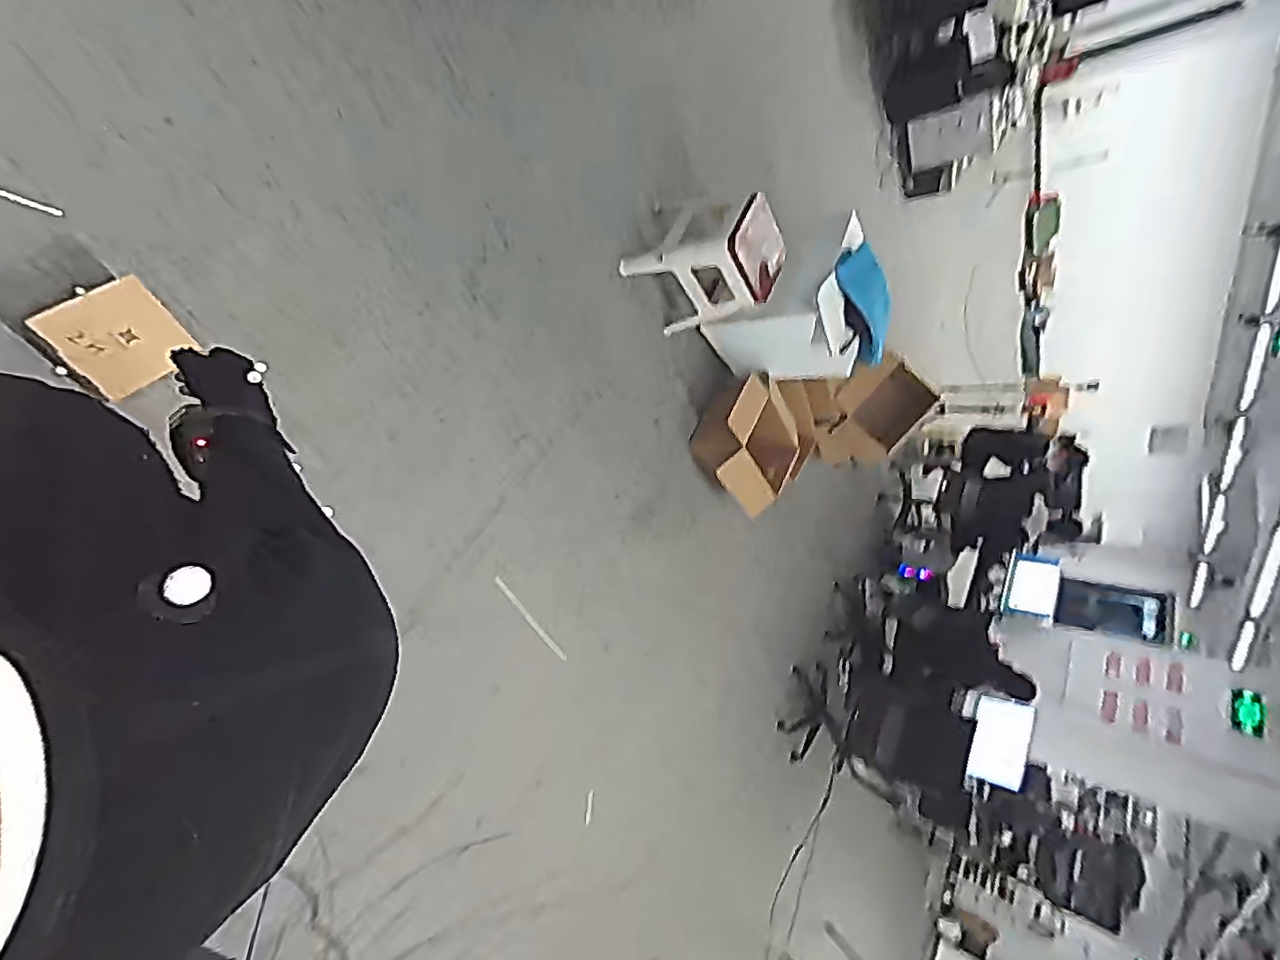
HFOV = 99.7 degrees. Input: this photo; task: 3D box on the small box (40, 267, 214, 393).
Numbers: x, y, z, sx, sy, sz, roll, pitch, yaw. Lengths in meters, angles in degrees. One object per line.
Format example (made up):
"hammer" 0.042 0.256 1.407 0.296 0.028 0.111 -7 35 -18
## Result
"small box" -0.974 -0.282 1.028 0.179 0.176 0.168 -49 129 -31
